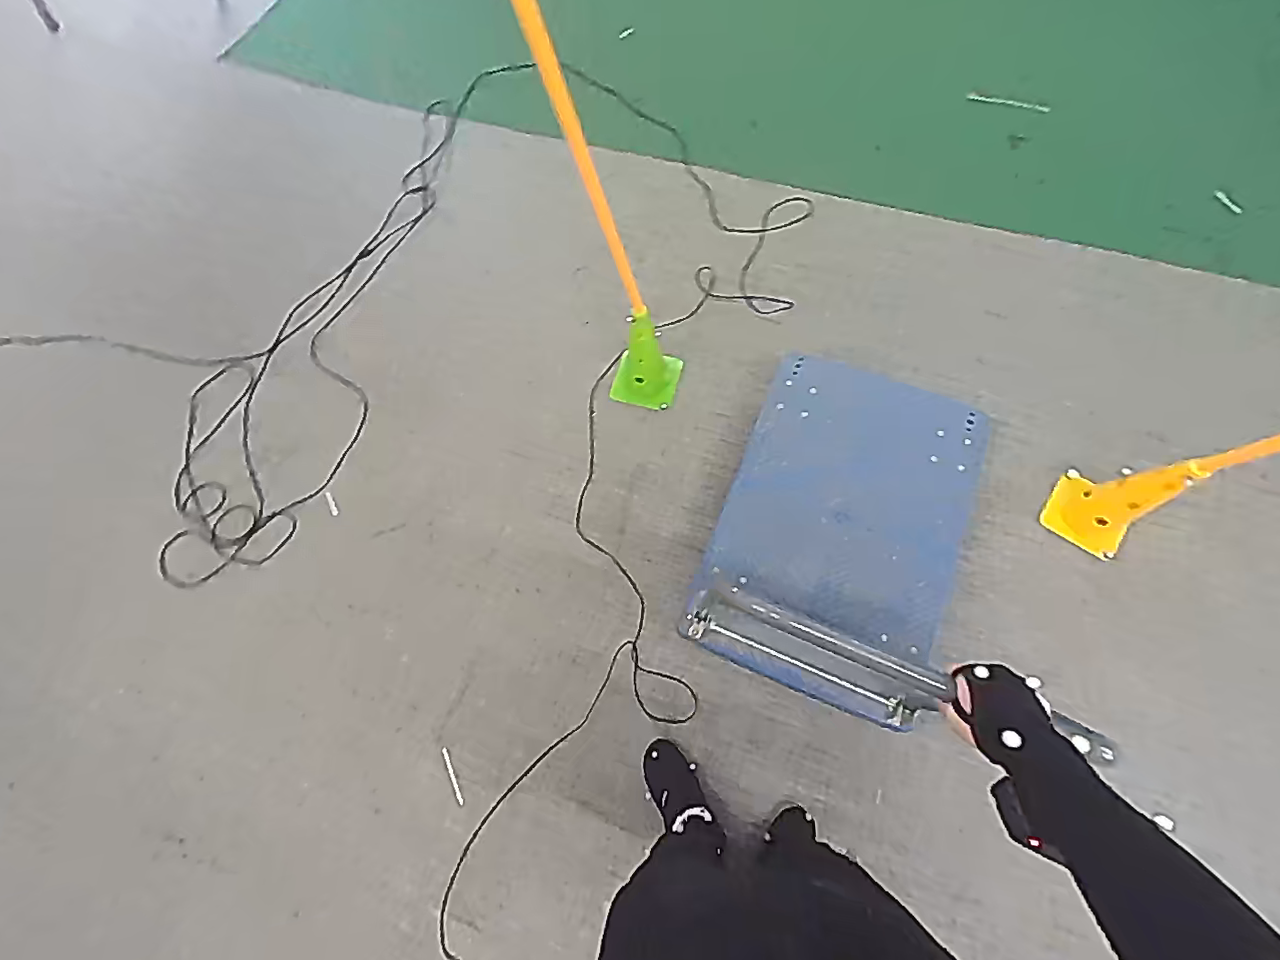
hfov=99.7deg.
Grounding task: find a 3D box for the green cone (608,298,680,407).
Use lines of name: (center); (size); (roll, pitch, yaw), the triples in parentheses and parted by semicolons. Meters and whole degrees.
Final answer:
green cone: (0.000, -0.400, 1.585); (0.202, 0.368, 0.200); (13, 70, 10)
